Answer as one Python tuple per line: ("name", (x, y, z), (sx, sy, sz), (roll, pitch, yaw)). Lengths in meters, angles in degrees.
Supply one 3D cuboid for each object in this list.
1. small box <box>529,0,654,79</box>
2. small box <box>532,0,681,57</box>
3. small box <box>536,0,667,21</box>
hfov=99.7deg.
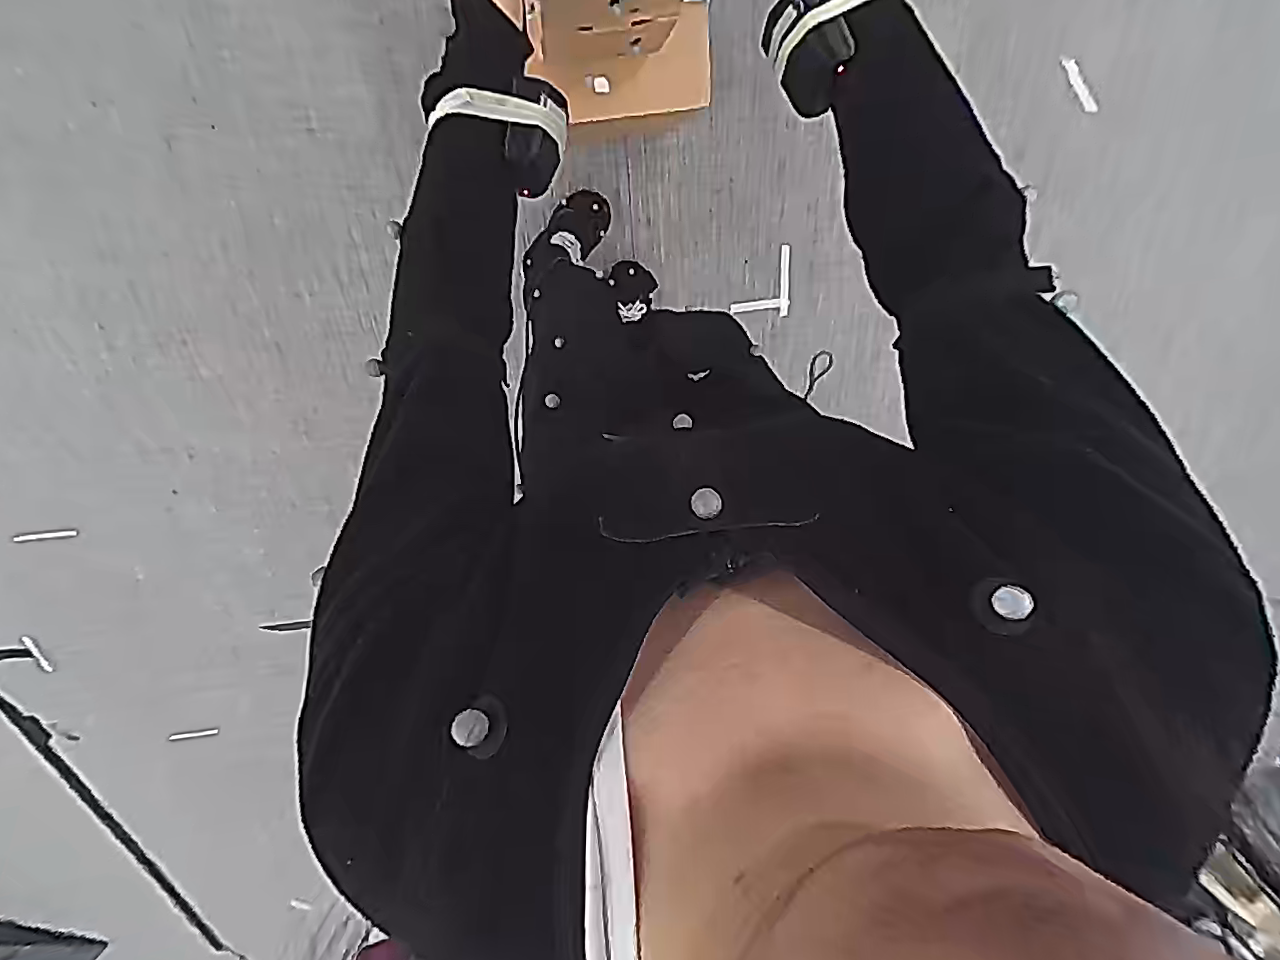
("small box", (-0.079, -0.709, 0.782), (0.168, 0.176, 0.179), (-9, 119, -3))
("small box", (-0.053, -0.630, 0.642), (0.168, 0.176, 0.179), (-11, 118, -4))
("small box", (-0.036, -0.557, 0.495), (0.168, 0.176, 0.179), (-15, 119, -2))
